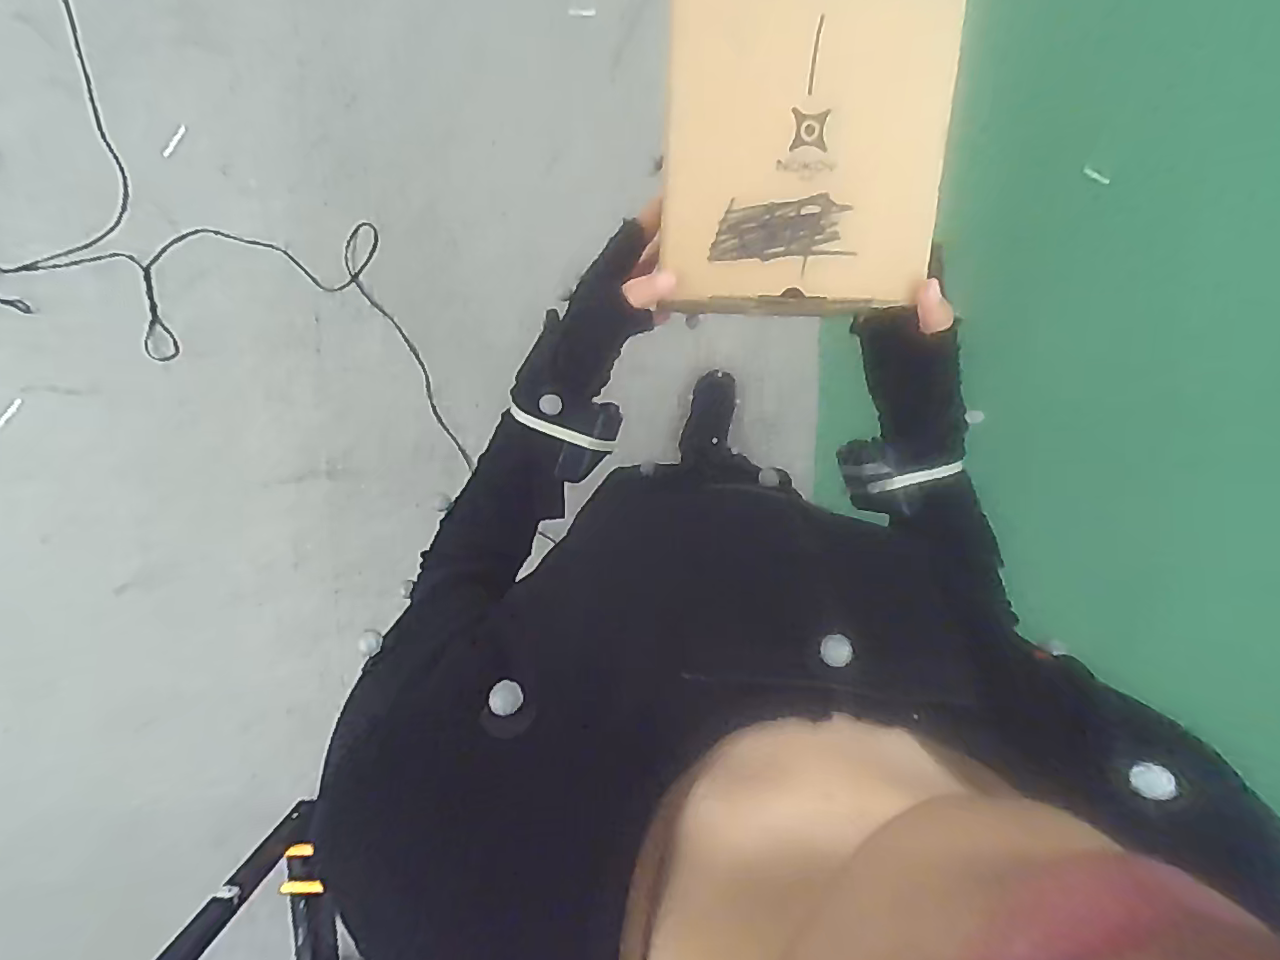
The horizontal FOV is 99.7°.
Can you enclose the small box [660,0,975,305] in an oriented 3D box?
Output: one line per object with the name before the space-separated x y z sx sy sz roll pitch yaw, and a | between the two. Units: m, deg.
small box | 0.101 -0.223 0.391 0.168 0.176 0.179 1 104 0
